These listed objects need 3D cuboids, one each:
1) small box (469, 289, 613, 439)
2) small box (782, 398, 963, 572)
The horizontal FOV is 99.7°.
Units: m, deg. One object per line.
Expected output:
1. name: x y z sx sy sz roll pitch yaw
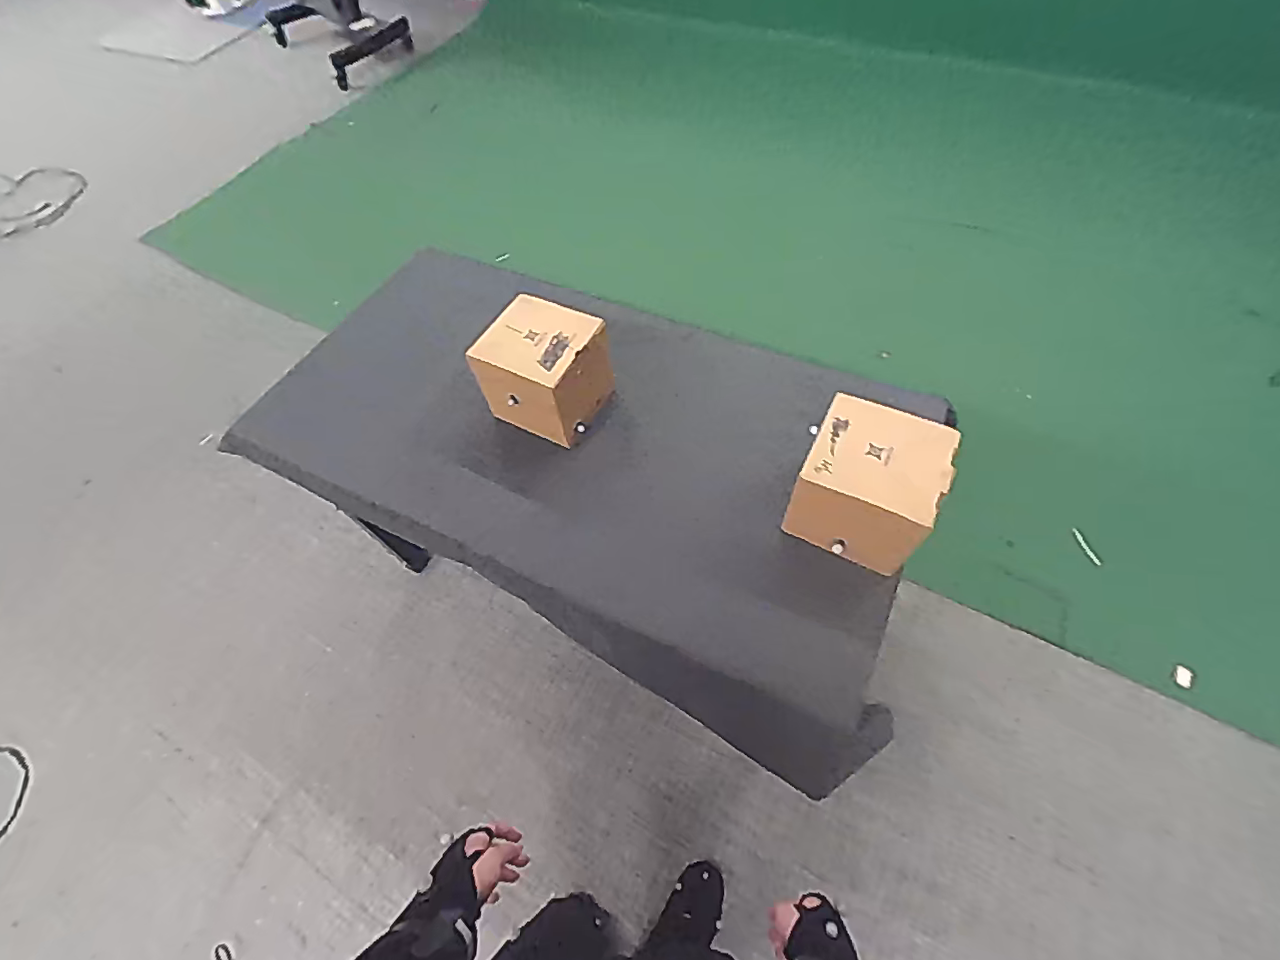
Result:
1. small box: -0.162 -0.197 0.954 0.179 0.176 0.168 25 62 17
2. small box: 0.333 0.015 0.802 0.179 0.176 0.168 25 62 16
